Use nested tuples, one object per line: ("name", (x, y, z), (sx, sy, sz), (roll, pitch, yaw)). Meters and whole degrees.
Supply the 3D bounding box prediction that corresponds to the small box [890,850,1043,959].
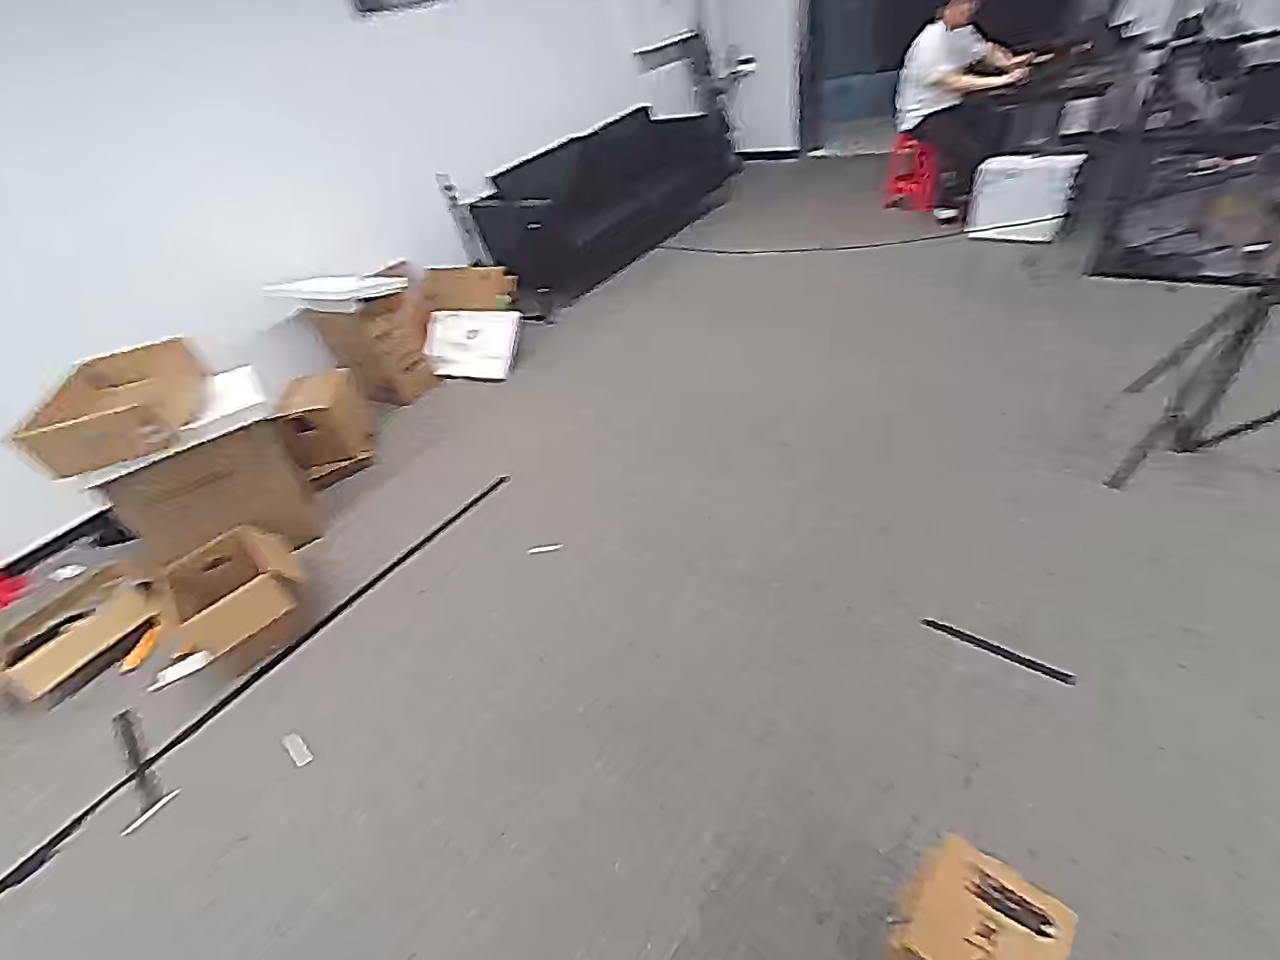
("small box", (0.539, 0.783, 0.912), (0.168, 0.176, 0.179), (23, 53, 36))
